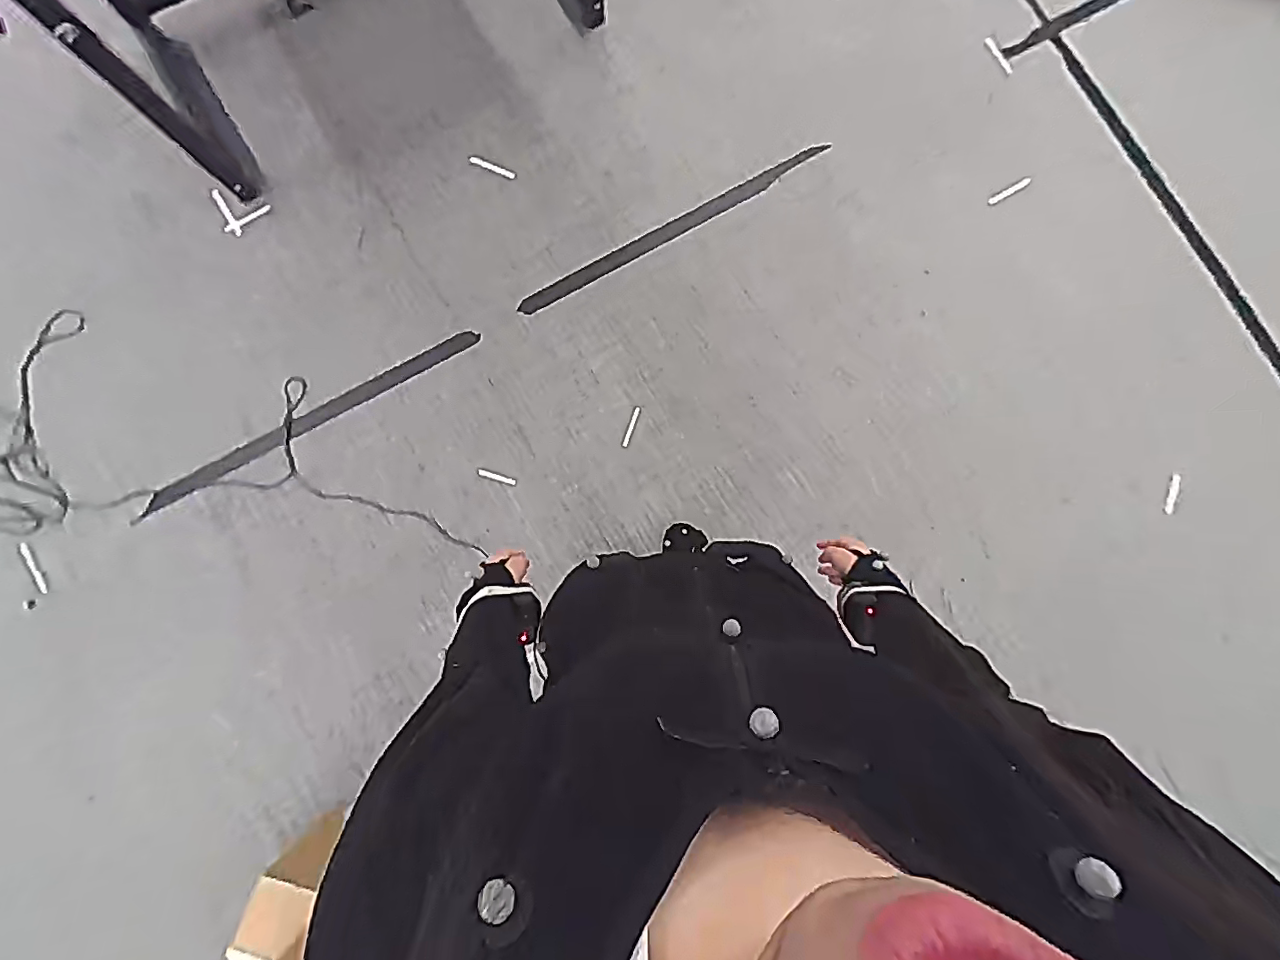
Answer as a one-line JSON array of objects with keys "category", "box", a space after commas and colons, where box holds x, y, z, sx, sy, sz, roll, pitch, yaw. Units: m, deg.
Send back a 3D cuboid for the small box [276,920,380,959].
[{"category": "small box", "box": [-0.615, 0.982, 1.001, 0.168, 0.176, 0.179, 18, 84, 0]}]
